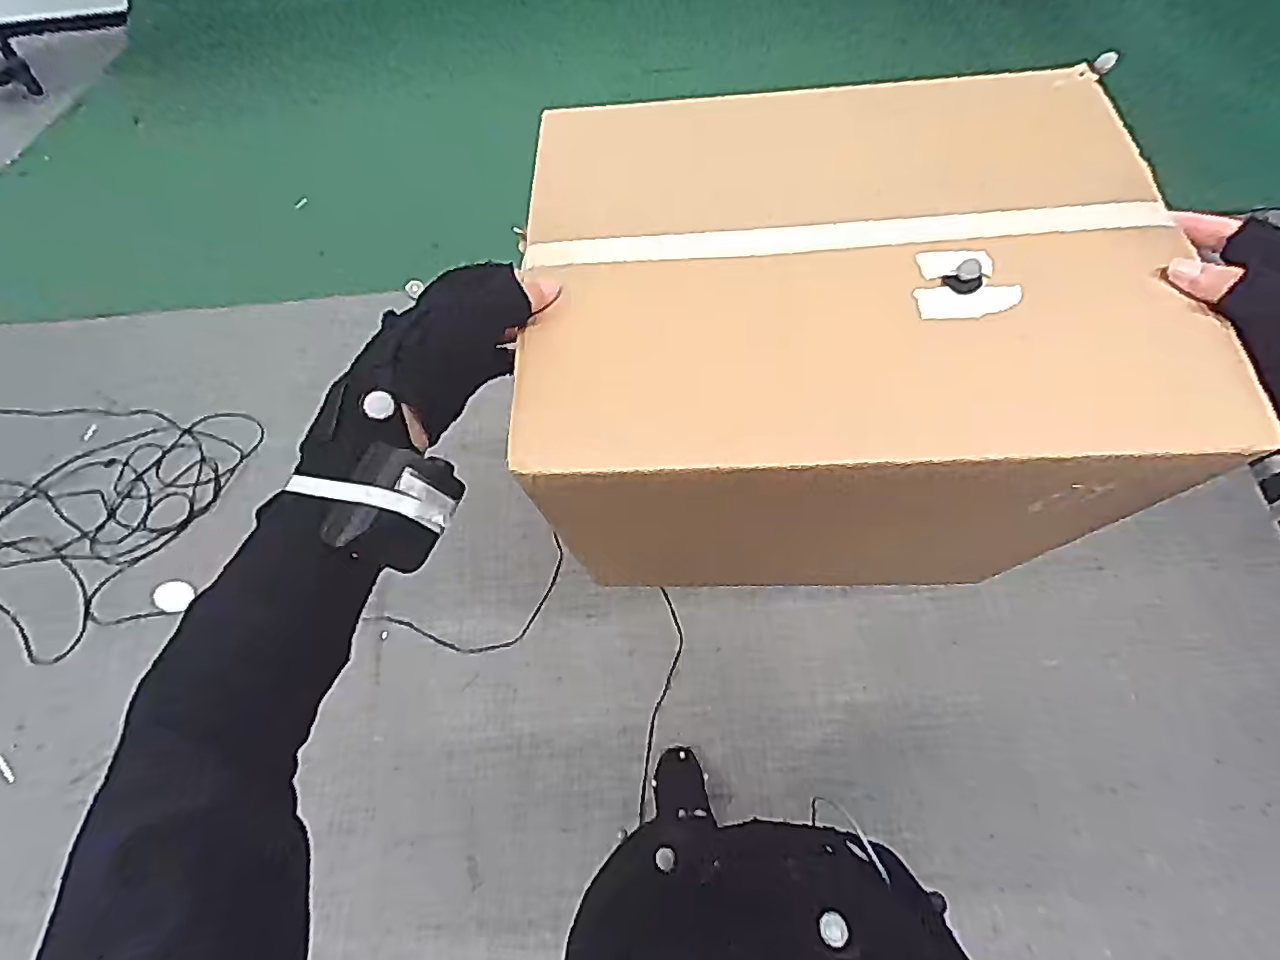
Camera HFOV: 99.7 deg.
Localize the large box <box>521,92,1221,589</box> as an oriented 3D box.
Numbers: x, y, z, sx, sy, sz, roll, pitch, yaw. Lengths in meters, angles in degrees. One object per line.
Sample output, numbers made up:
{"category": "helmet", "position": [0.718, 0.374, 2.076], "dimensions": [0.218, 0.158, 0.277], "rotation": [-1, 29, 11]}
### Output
{"category": "large box", "position": [0.132, -0.089, 0.505], "dimensions": [0.408, 0.320, 0.320], "rotation": [-3, 67, 4]}
